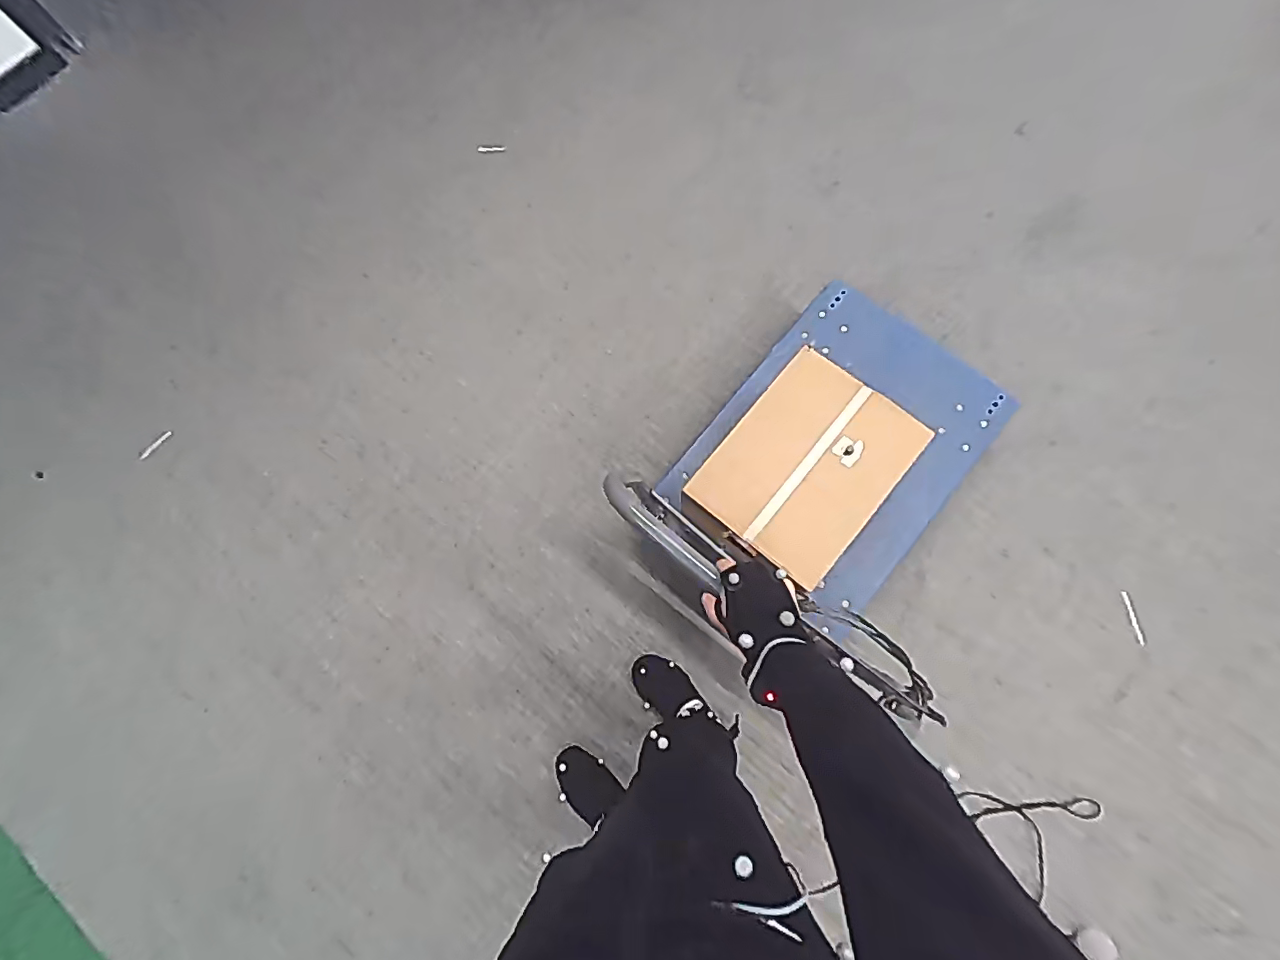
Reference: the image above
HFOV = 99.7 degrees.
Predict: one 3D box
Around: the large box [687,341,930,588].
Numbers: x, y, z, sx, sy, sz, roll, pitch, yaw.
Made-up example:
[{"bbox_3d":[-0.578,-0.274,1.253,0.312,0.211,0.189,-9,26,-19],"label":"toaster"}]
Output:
[{"bbox_3d":[0.343,-0.014,1.208,0.320,0.320,0.408,39,82,11],"label":"large box"}]
